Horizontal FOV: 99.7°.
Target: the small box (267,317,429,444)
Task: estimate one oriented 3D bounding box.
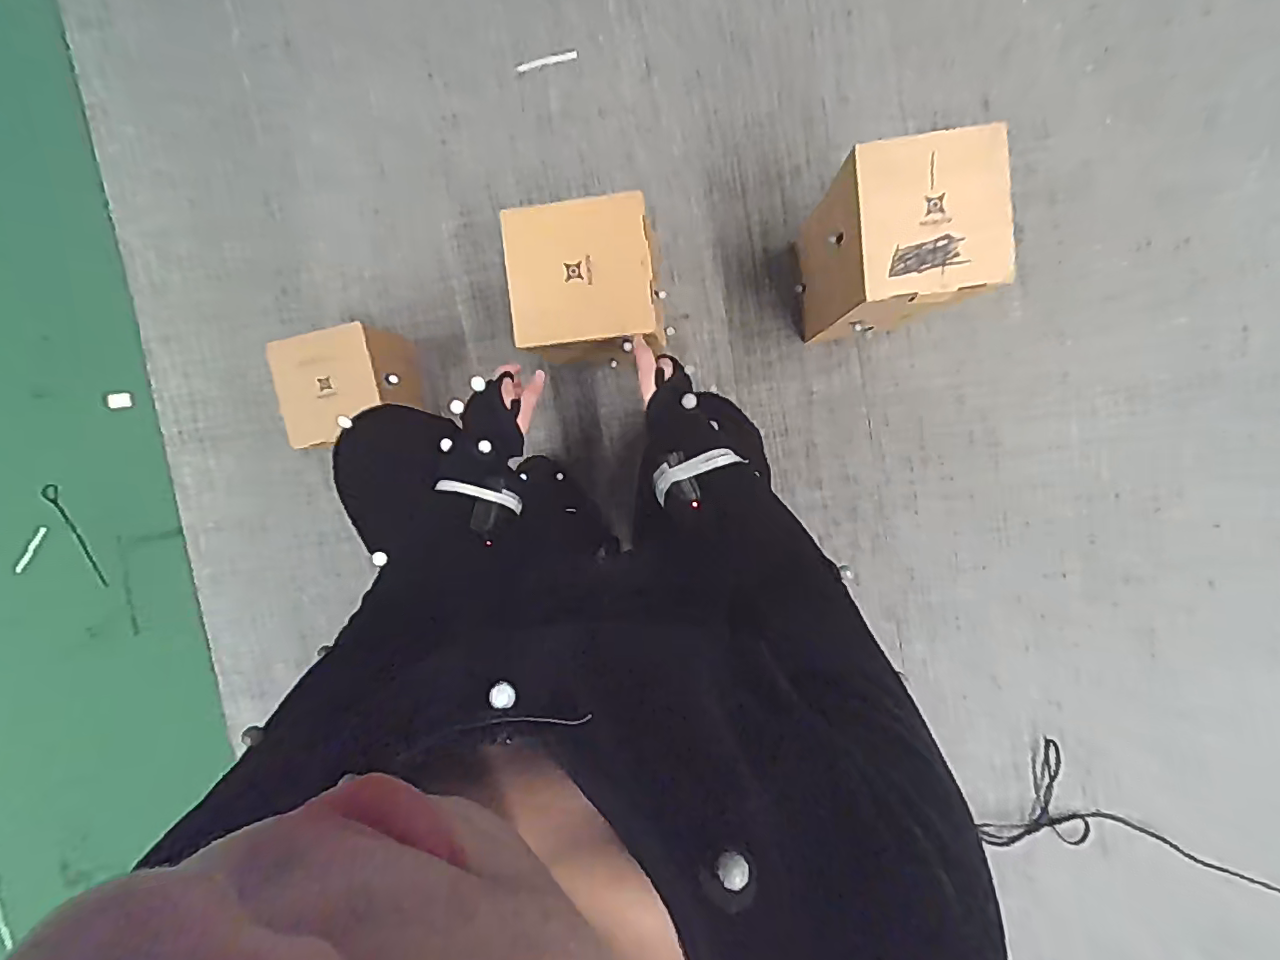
[{"bbox_3d":[-0.490,-0.164,0.935,0.168,0.176,0.179,-11,94,5],"label":"small box"}]

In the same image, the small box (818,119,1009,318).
[{"bbox_3d":[0.331,-0.310,0.684,0.168,0.176,0.179,-6,94,5],"label":"small box"}]

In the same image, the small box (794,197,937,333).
[{"bbox_3d":[0.346,-0.333,0.847,0.168,0.176,0.179,-6,96,5],"label":"small box"}]

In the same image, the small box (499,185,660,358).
[{"bbox_3d":[-0.070,-0.263,0.724,0.179,0.176,0.168,-5,95,5],"label":"small box"}]
